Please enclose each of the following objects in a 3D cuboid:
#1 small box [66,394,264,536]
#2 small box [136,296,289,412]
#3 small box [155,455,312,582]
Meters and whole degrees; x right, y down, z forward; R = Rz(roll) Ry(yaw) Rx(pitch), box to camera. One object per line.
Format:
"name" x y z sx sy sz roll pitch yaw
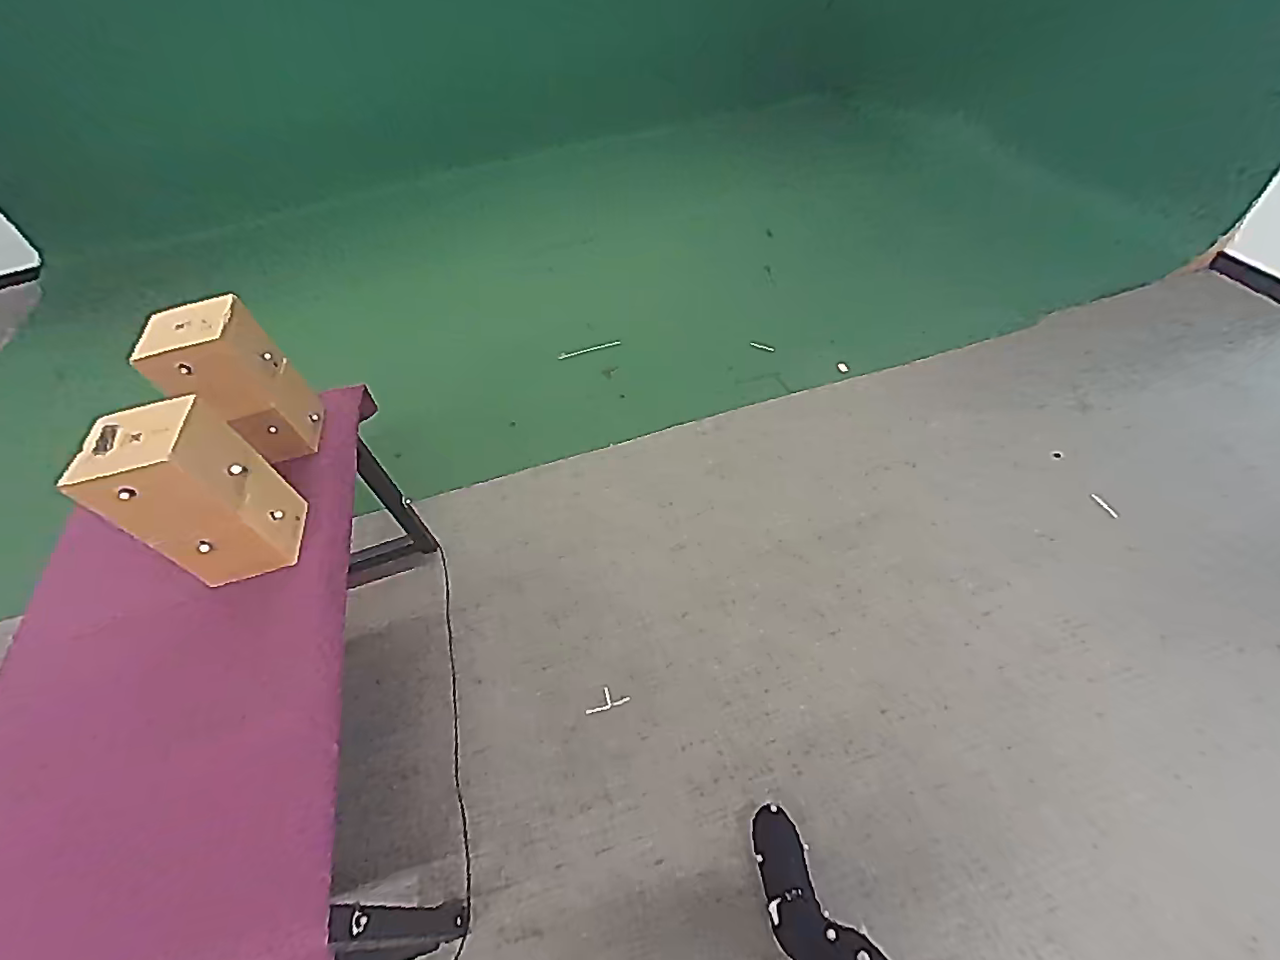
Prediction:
"small box" -0.826 -0.021 0.963 0.179 0.176 0.168 -14 51 -2
"small box" -0.906 -0.262 1.165 0.179 0.176 0.168 -16 52 -4
"small box" -0.801 0.081 1.090 0.179 0.176 0.168 -16 51 -2
